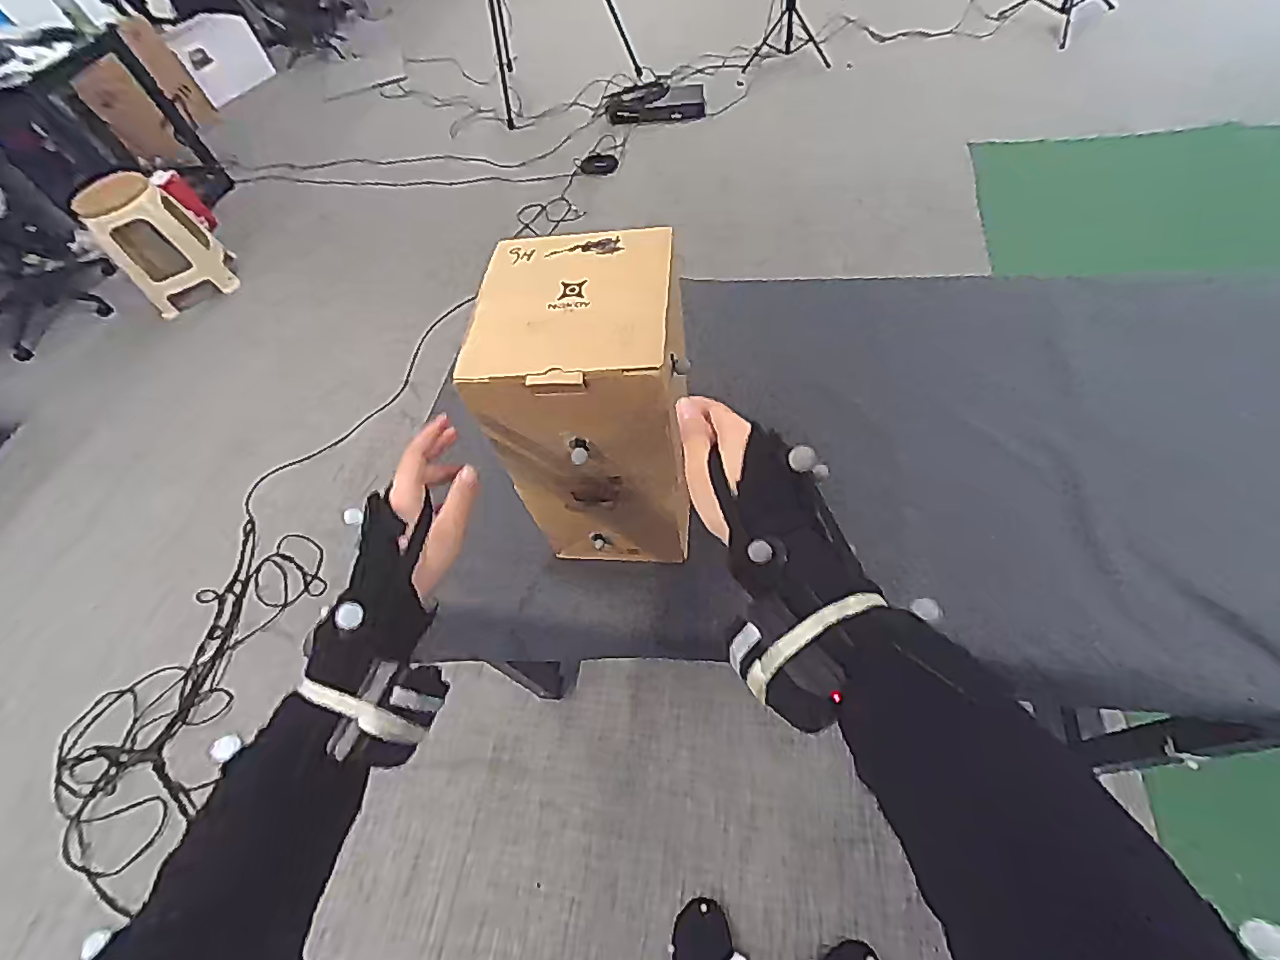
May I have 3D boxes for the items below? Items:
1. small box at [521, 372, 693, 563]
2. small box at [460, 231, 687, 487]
[{"bbox_3d":[-0.025,-0.017,0.653,0.168,0.176,0.179,0,57,10],"label":"small box"},{"bbox_3d":[-0.043,-0.103,0.516,0.168,0.176,0.179,-1,58,9],"label":"small box"}]
